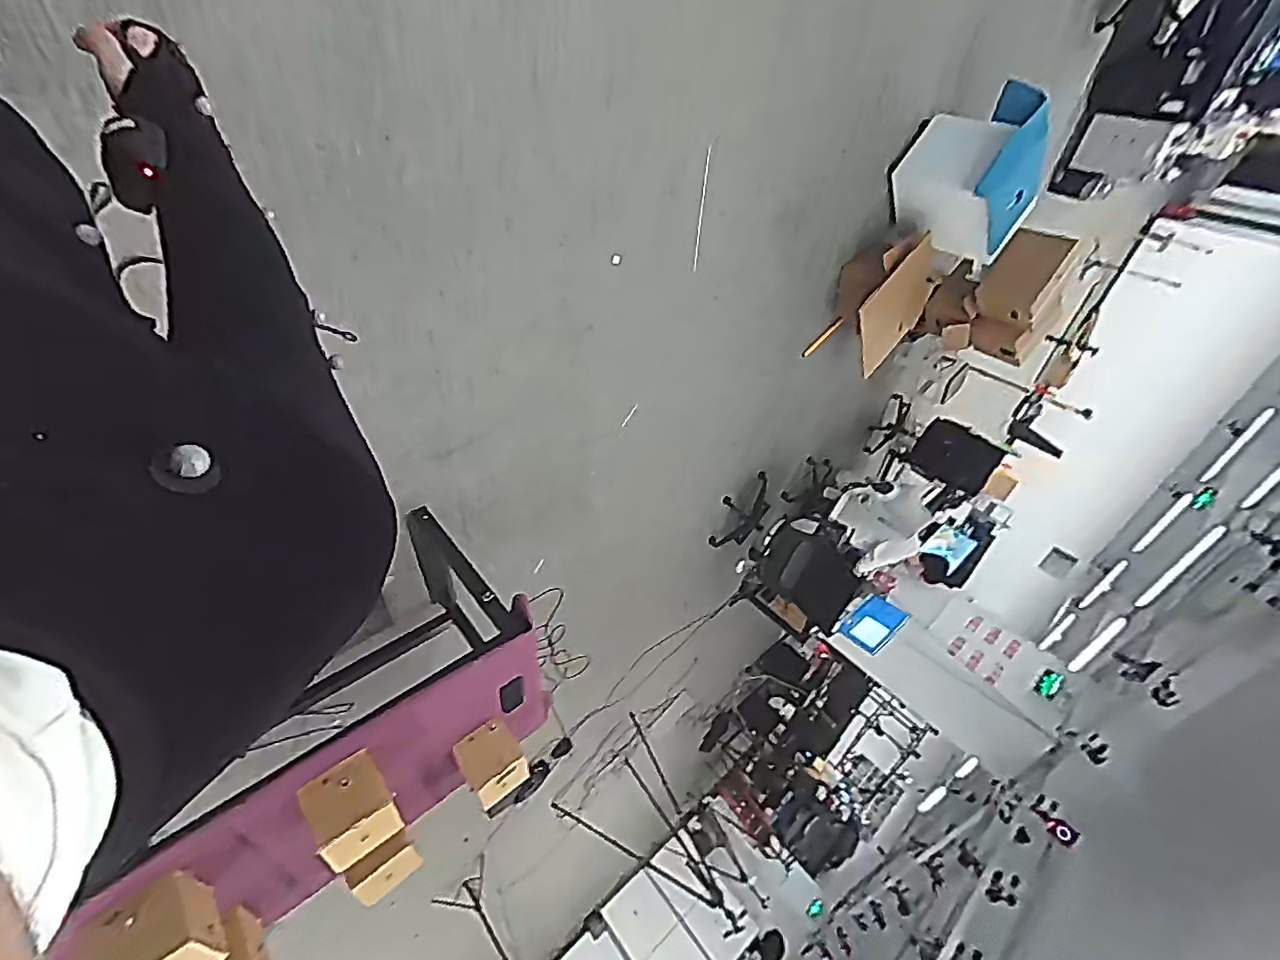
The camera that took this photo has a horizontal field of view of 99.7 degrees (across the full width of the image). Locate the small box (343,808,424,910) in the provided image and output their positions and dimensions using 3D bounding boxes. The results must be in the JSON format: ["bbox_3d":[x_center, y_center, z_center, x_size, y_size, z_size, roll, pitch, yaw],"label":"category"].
[{"bbox_3d":[-0.745,1.065,1.542,0.168,0.176,0.179,-28,139,-32],"label":"small box"}]

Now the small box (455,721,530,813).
[{"bbox_3d":[-0.468,0.902,1.716,0.168,0.176,0.179,-27,140,-31],"label":"small box"}]

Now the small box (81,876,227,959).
[{"bbox_3d":[-1.013,0.982,1.133,0.168,0.176,0.179,-29,140,-32],"label":"small box"}]

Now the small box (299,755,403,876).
[{"bbox_3d":[-0.718,0.829,1.349,0.168,0.176,0.179,-26,140,-33],"label":"small box"}]

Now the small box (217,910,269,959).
[{"bbox_3d":[-1.037,1.217,1.334,0.168,0.176,0.179,-27,140,-34],"label":"small box"}]
